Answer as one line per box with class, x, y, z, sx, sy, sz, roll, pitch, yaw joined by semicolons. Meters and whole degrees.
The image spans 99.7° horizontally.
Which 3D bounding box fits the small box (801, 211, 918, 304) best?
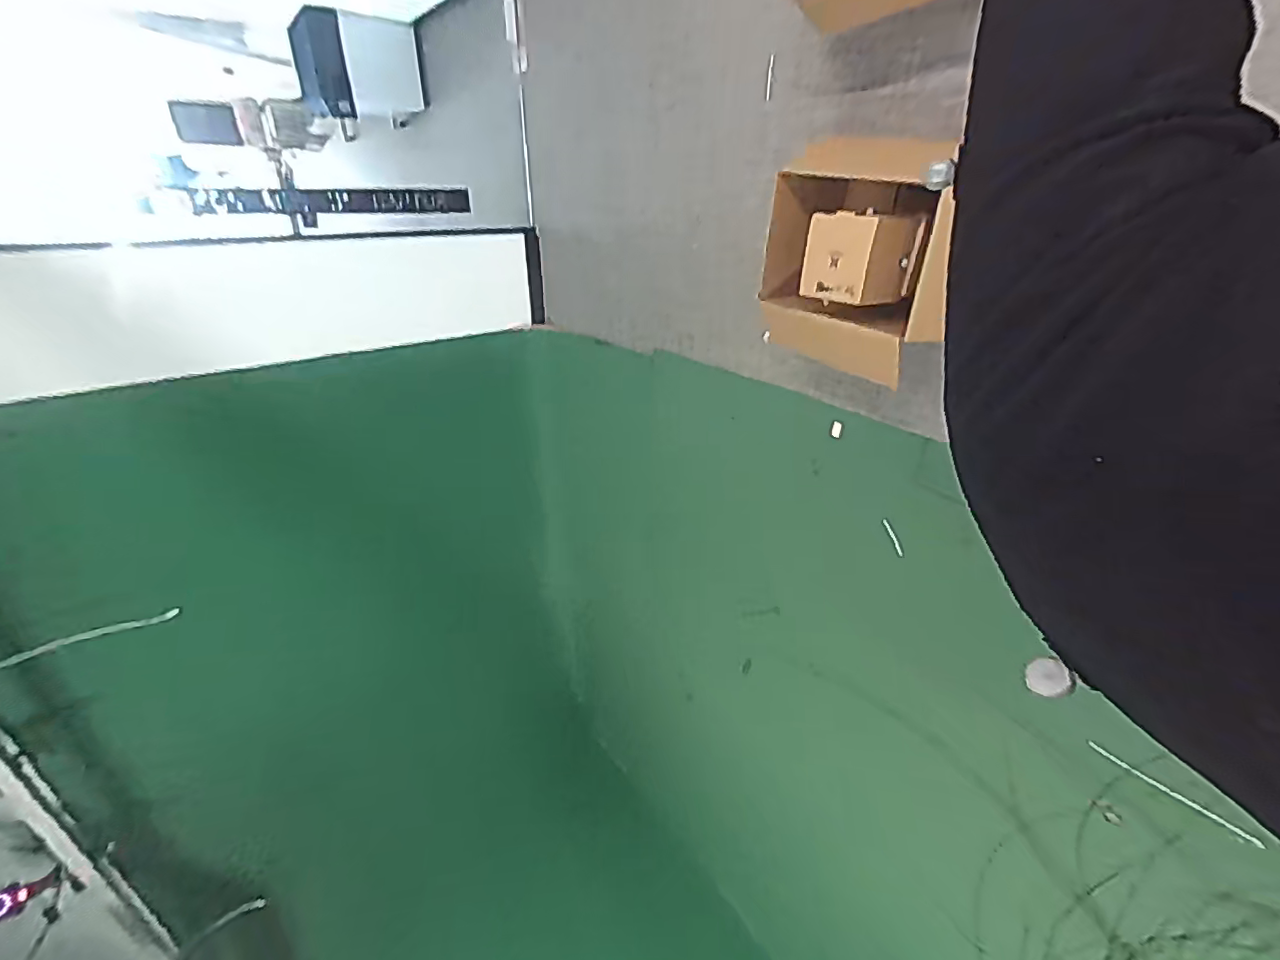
small box;0.500;-0.505;1.231;0.168;0.176;0.179;34;129;45
